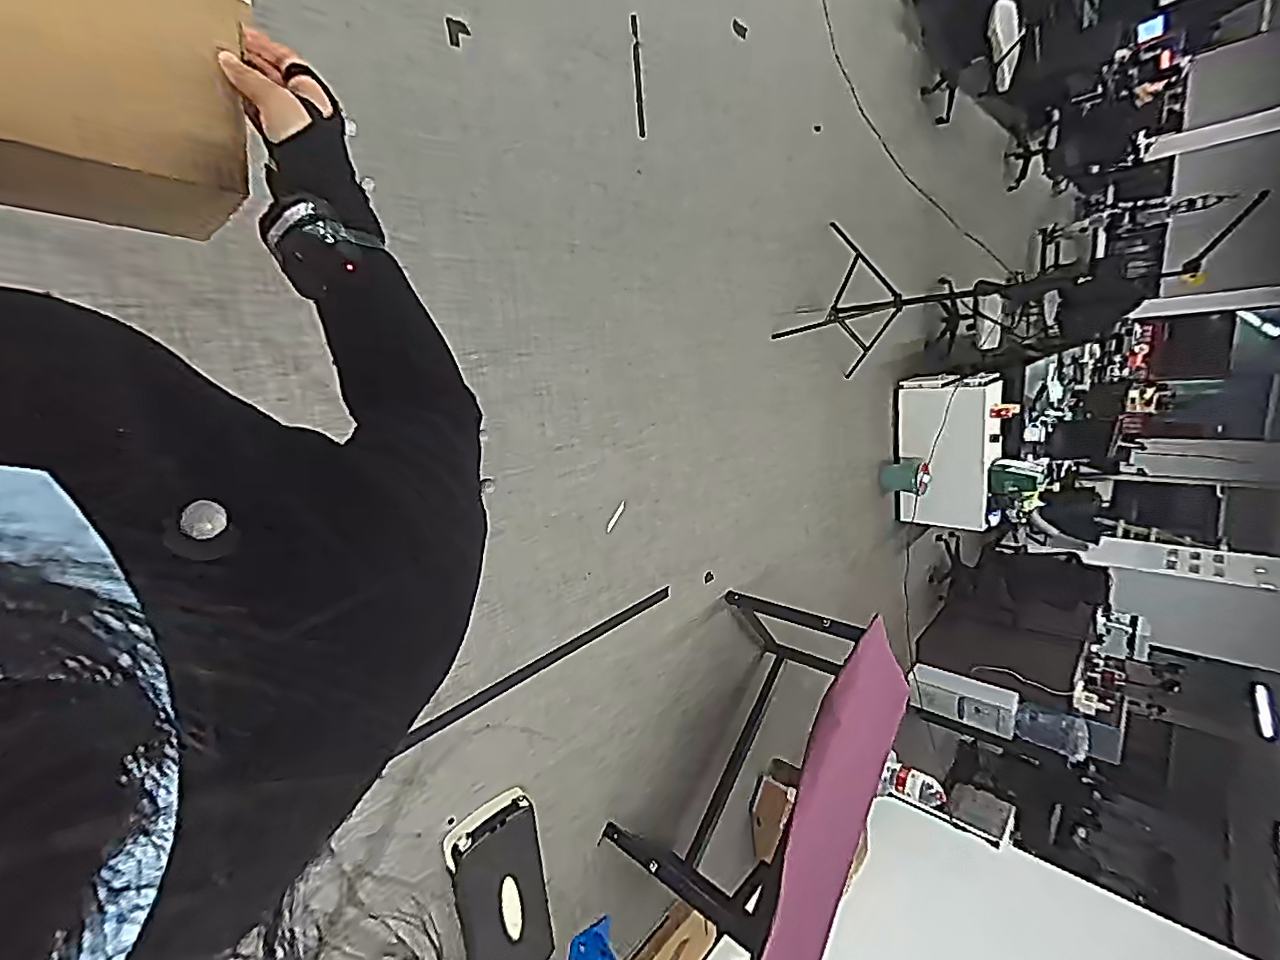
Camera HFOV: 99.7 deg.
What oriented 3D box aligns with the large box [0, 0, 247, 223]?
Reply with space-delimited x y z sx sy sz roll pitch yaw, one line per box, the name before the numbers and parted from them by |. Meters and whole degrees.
large box | -0.572 -0.418 0.408 0.408 0.320 0.320 -6 104 -42
